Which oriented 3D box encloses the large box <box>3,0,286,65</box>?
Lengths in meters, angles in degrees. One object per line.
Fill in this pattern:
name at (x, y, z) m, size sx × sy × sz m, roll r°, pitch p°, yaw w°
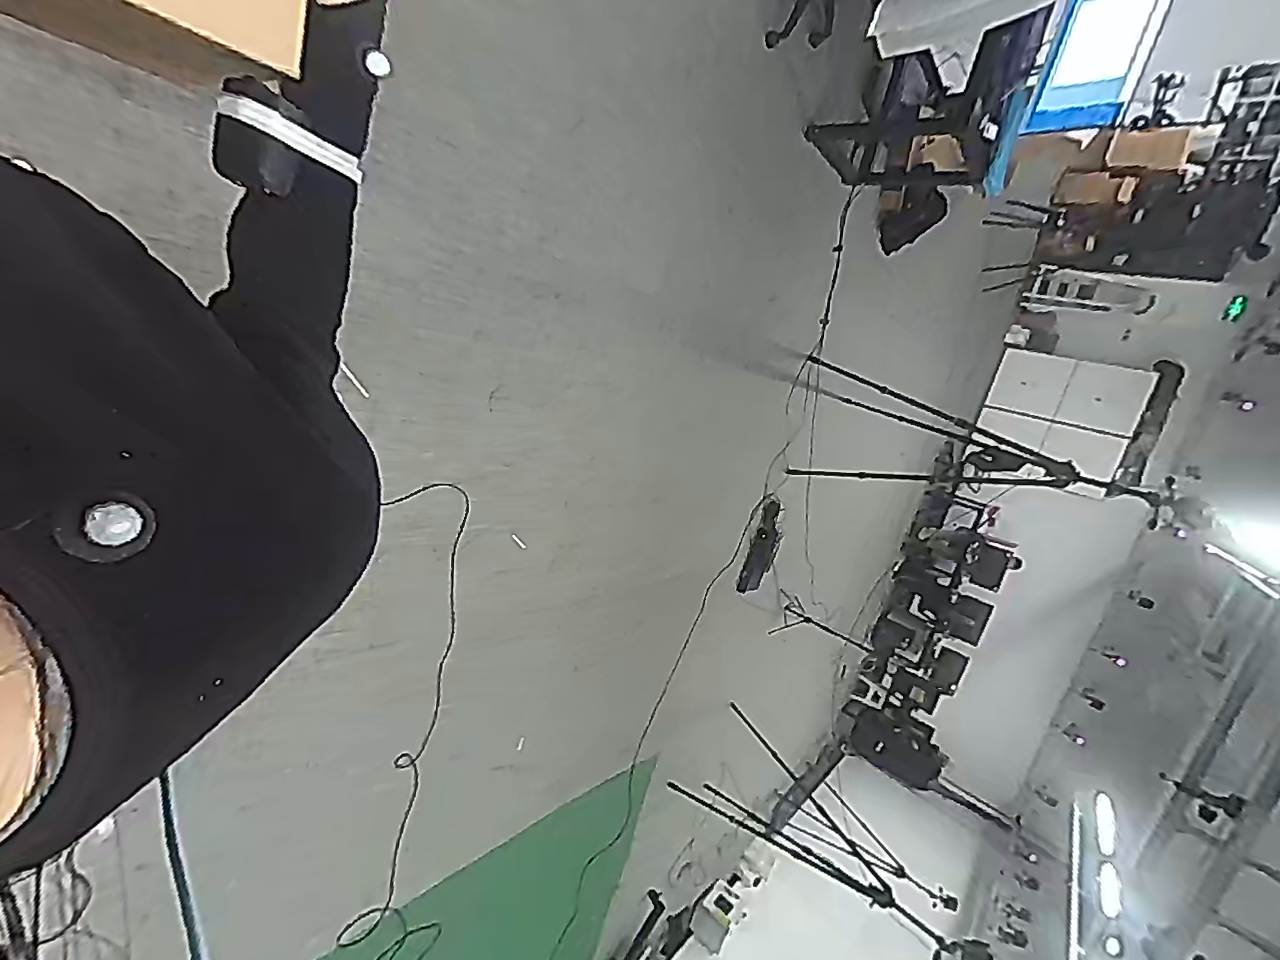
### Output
large box at (-0.436, -0.467, 0.257) m, size 0.408 × 0.320 × 0.320 m, roll -5°, pitch 117°, yaw -49°
